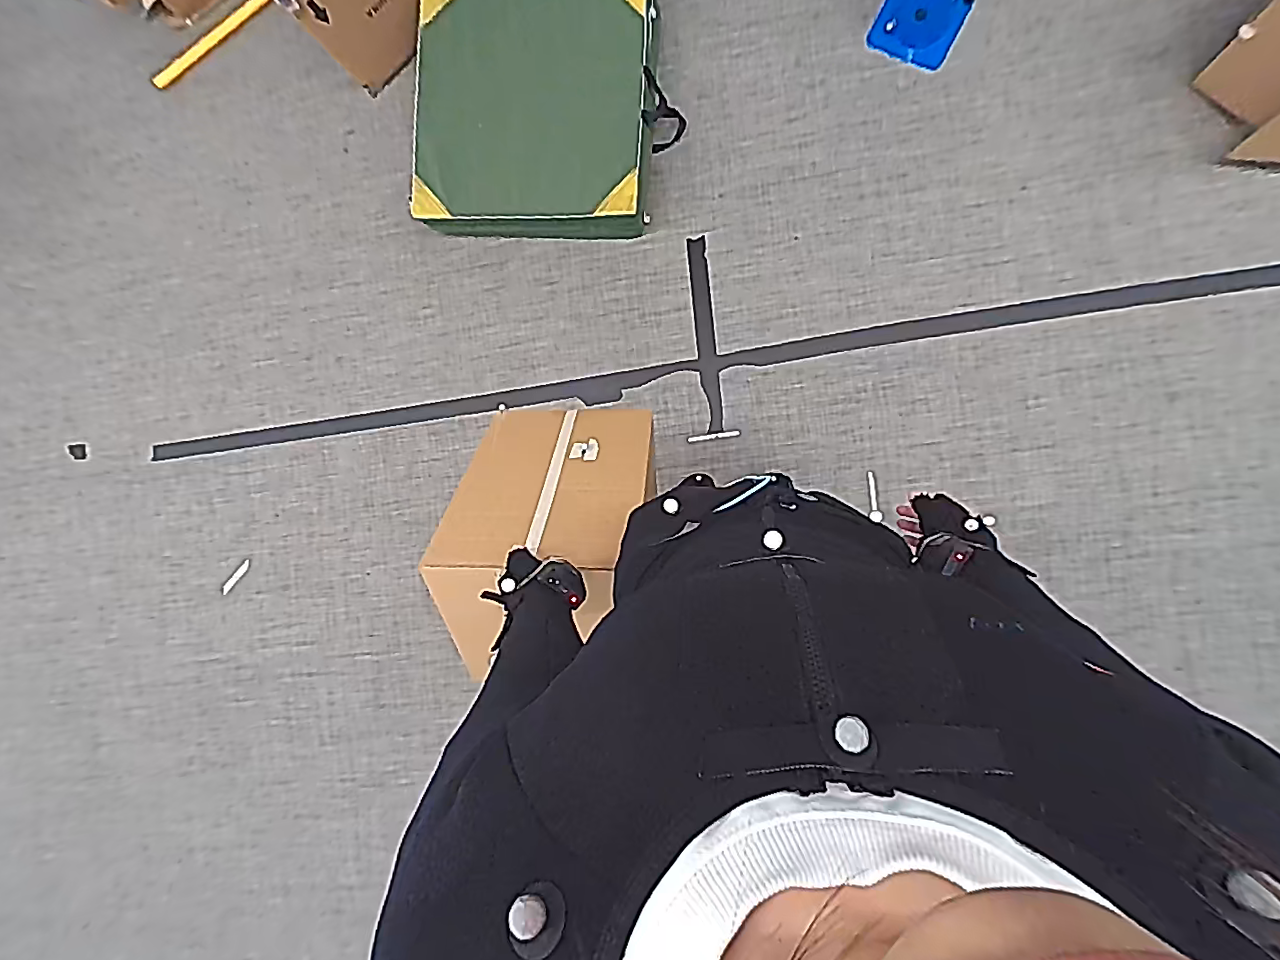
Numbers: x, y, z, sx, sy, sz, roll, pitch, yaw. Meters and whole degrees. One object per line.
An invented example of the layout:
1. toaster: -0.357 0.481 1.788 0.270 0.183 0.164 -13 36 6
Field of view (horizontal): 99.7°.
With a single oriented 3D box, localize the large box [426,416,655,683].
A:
1. large box: -0.140 0.120 1.015 0.320 0.408 0.320 1 129 6
